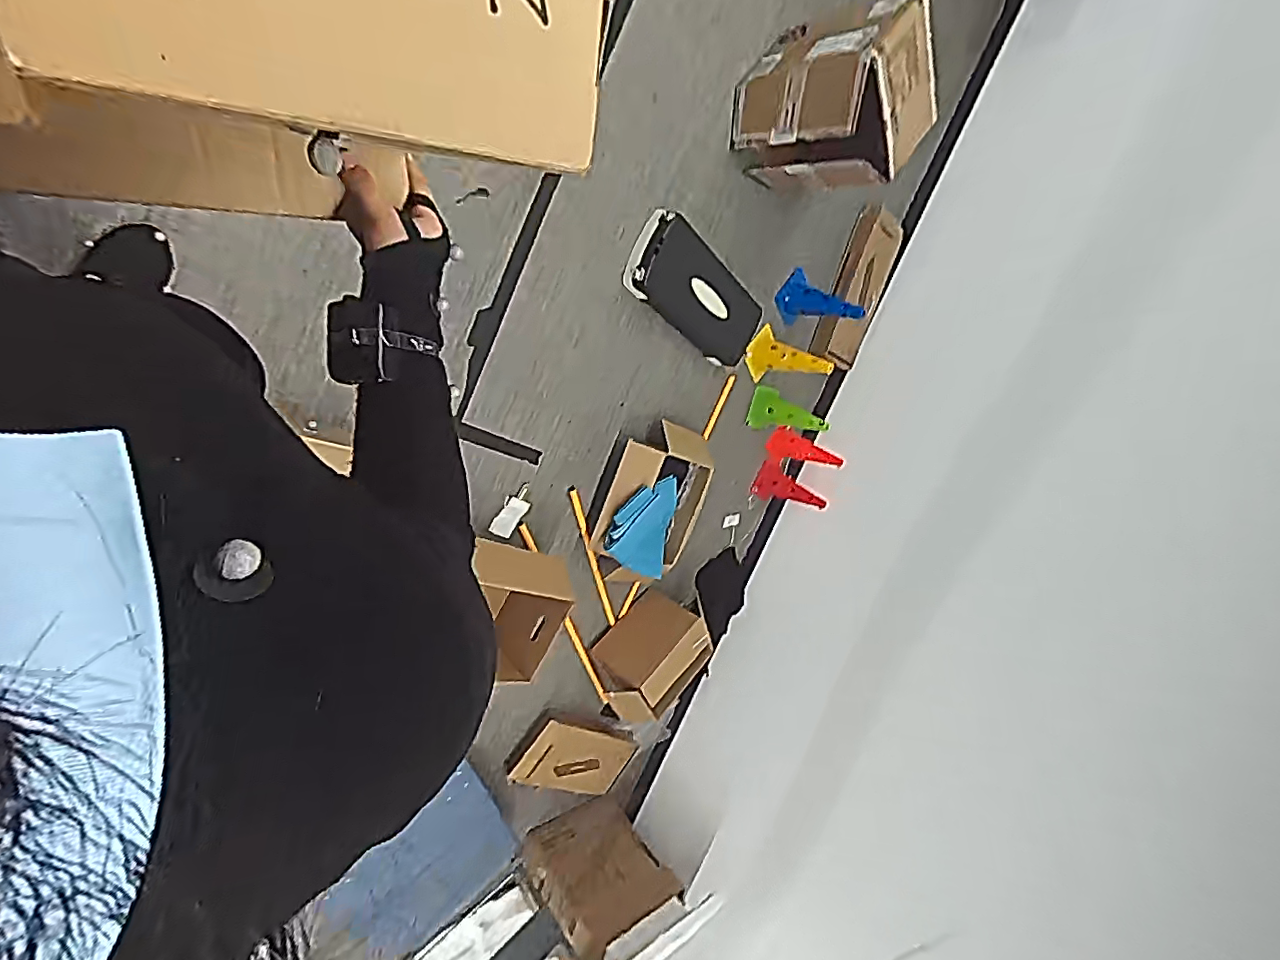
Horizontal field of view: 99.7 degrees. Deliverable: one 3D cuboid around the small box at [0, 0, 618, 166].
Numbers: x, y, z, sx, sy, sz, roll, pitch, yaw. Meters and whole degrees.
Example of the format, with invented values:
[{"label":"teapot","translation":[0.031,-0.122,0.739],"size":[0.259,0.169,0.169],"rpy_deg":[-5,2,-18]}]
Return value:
[{"label":"small box","translation":[-0.119,-0.228,0.202],"size":[0.179,0.176,0.168],"rpy_deg":[-10,124,-33]}]
